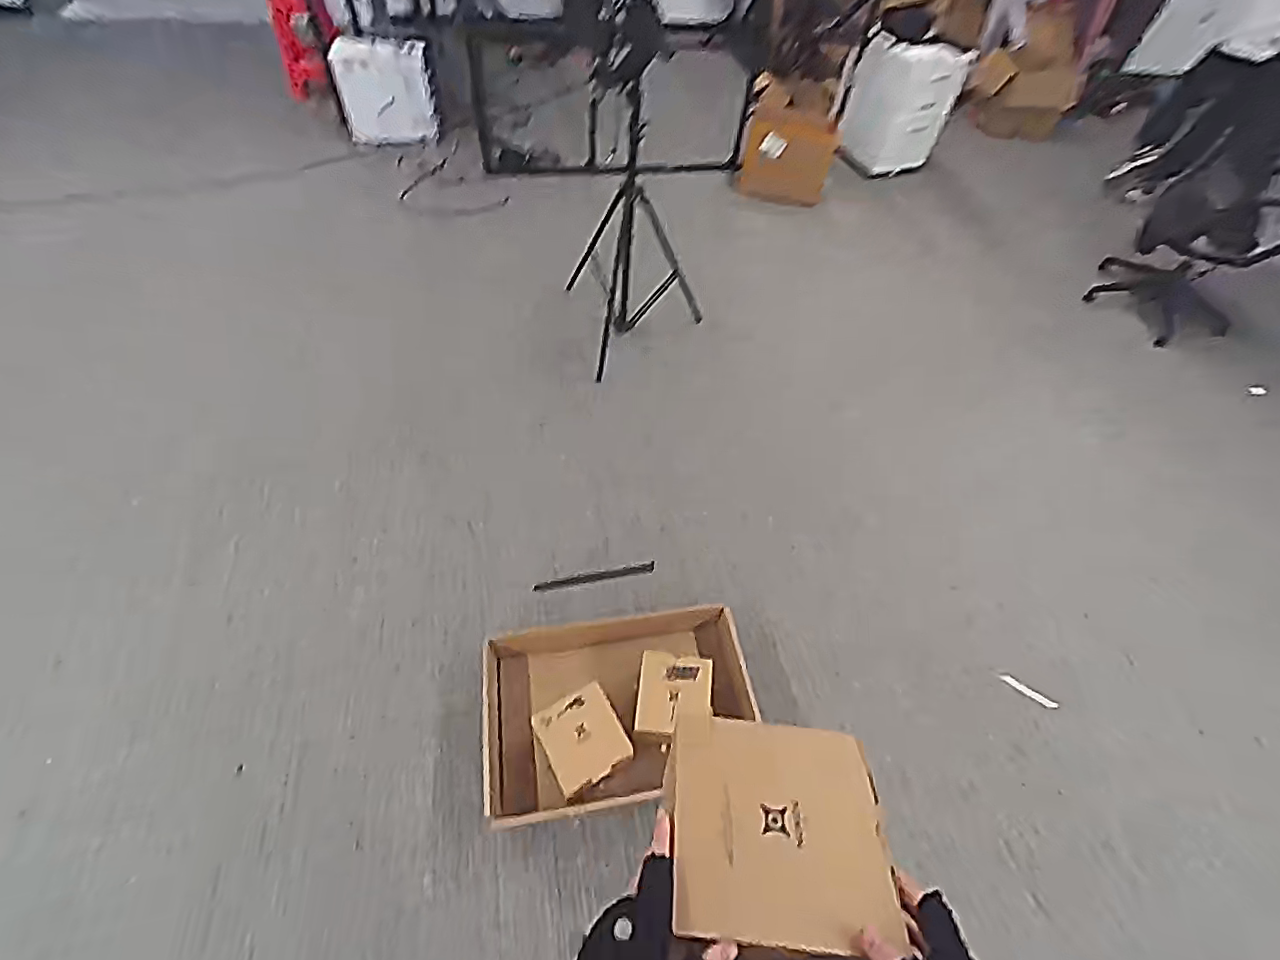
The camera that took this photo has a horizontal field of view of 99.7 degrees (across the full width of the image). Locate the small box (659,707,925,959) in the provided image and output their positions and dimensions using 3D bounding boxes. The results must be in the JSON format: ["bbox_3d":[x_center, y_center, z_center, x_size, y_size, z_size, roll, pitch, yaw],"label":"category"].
[{"bbox_3d":[0.115,0.332,0.487,0.179,0.176,0.168,5,38,2],"label":"small box"}]
